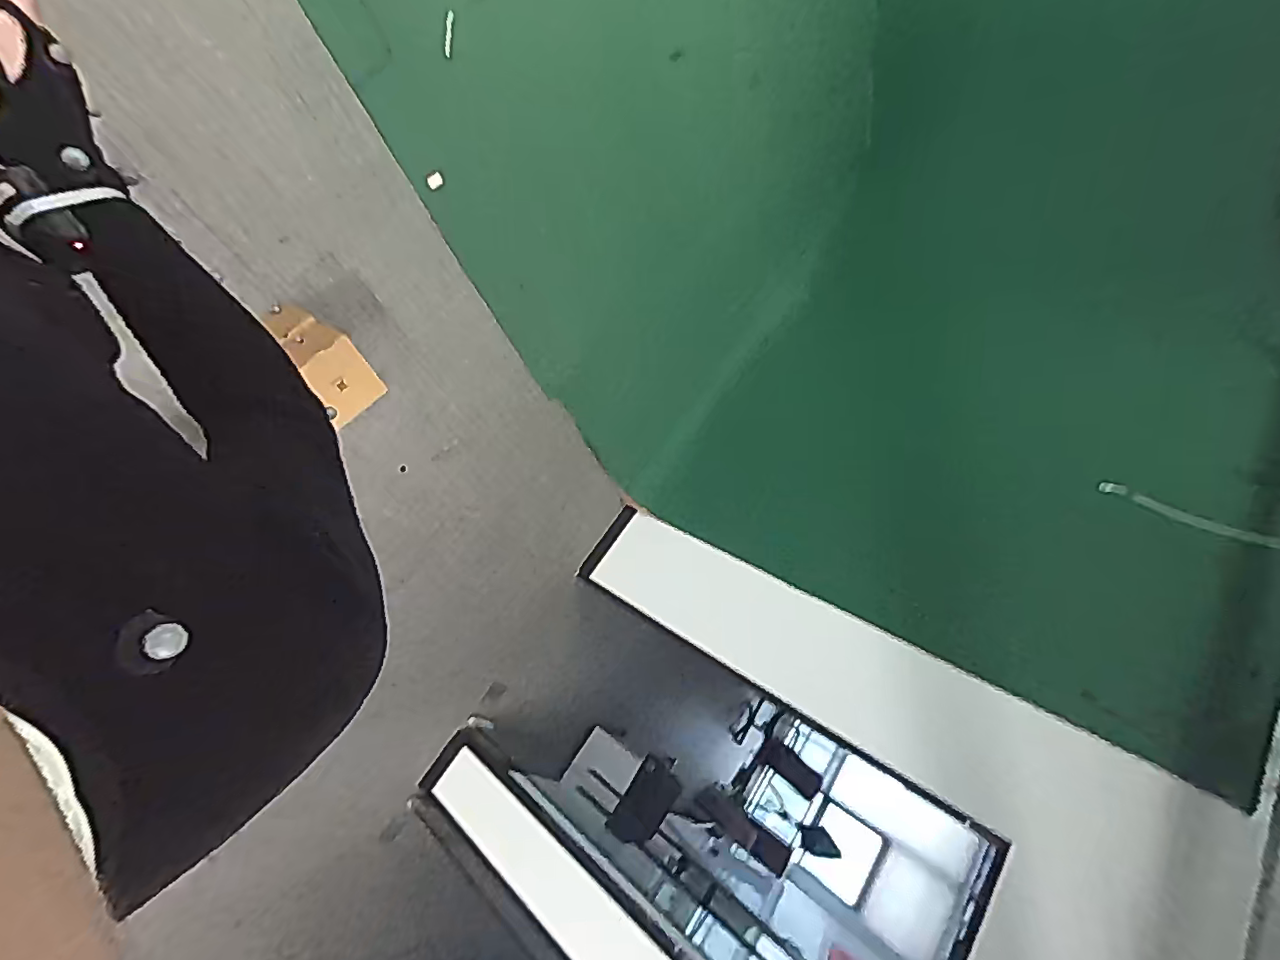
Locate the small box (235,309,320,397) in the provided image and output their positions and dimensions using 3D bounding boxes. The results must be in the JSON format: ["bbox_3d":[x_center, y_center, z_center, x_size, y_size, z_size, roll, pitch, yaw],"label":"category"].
[{"bbox_3d":[-0.914,-0.332,1.428,0.168,0.176,0.179,-49,144,-22],"label":"small box"}]

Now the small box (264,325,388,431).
[{"bbox_3d":[-0.777,-0.256,1.340,0.168,0.176,0.179,-49,143,-22],"label":"small box"}]
